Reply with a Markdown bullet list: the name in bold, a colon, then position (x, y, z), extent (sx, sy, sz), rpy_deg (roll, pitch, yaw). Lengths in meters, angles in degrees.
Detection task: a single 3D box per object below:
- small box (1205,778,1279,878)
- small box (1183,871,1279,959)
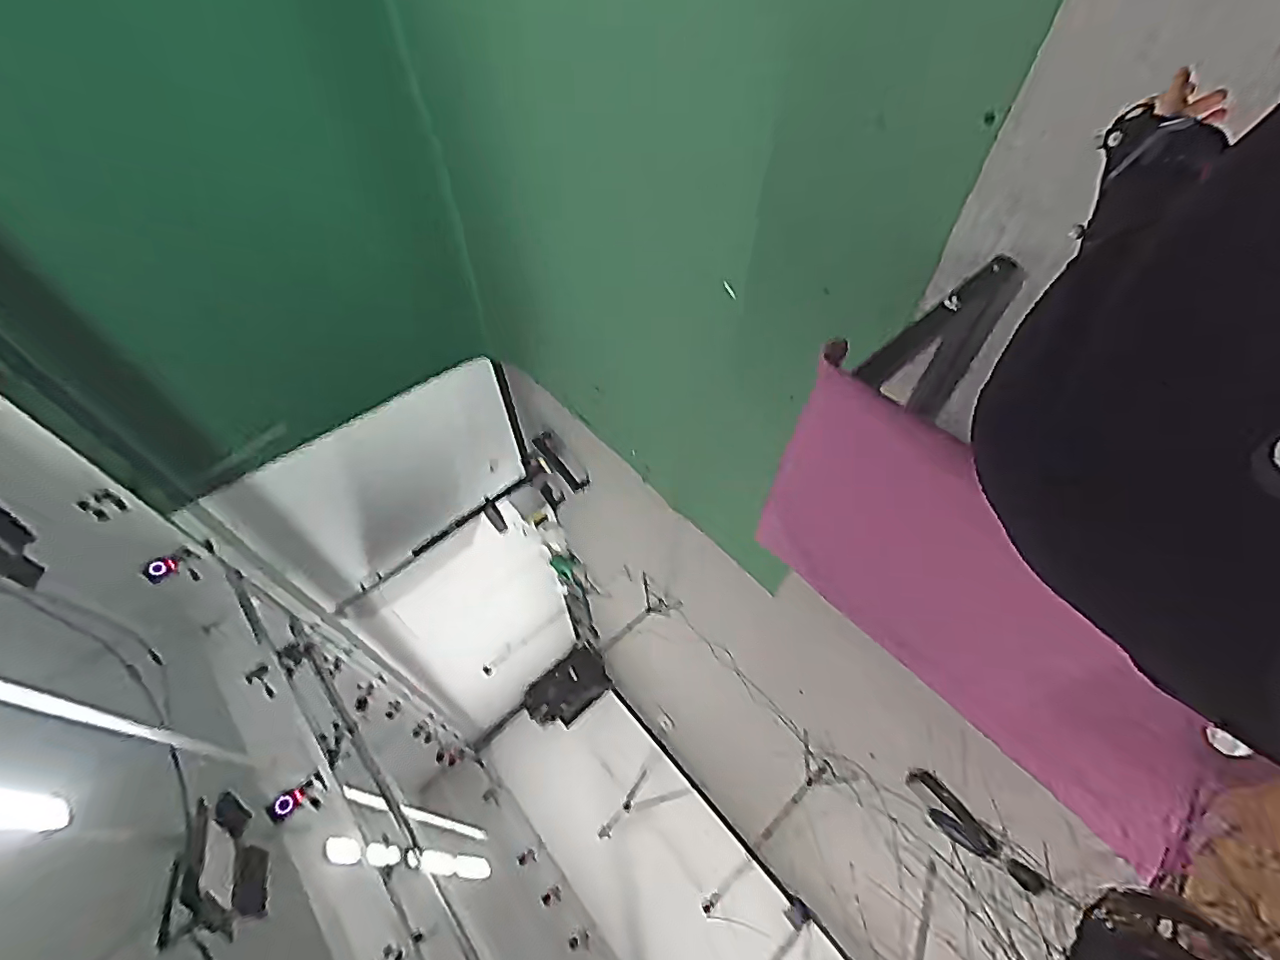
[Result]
- **small box**: position (0.927, 0.516, 0.707), extent (0.168, 0.176, 0.179), rpy_deg (41, 153, 27)
- **small box**: position (0.805, 0.598, 0.635), extent (0.168, 0.176, 0.179), rpy_deg (42, 154, 26)
